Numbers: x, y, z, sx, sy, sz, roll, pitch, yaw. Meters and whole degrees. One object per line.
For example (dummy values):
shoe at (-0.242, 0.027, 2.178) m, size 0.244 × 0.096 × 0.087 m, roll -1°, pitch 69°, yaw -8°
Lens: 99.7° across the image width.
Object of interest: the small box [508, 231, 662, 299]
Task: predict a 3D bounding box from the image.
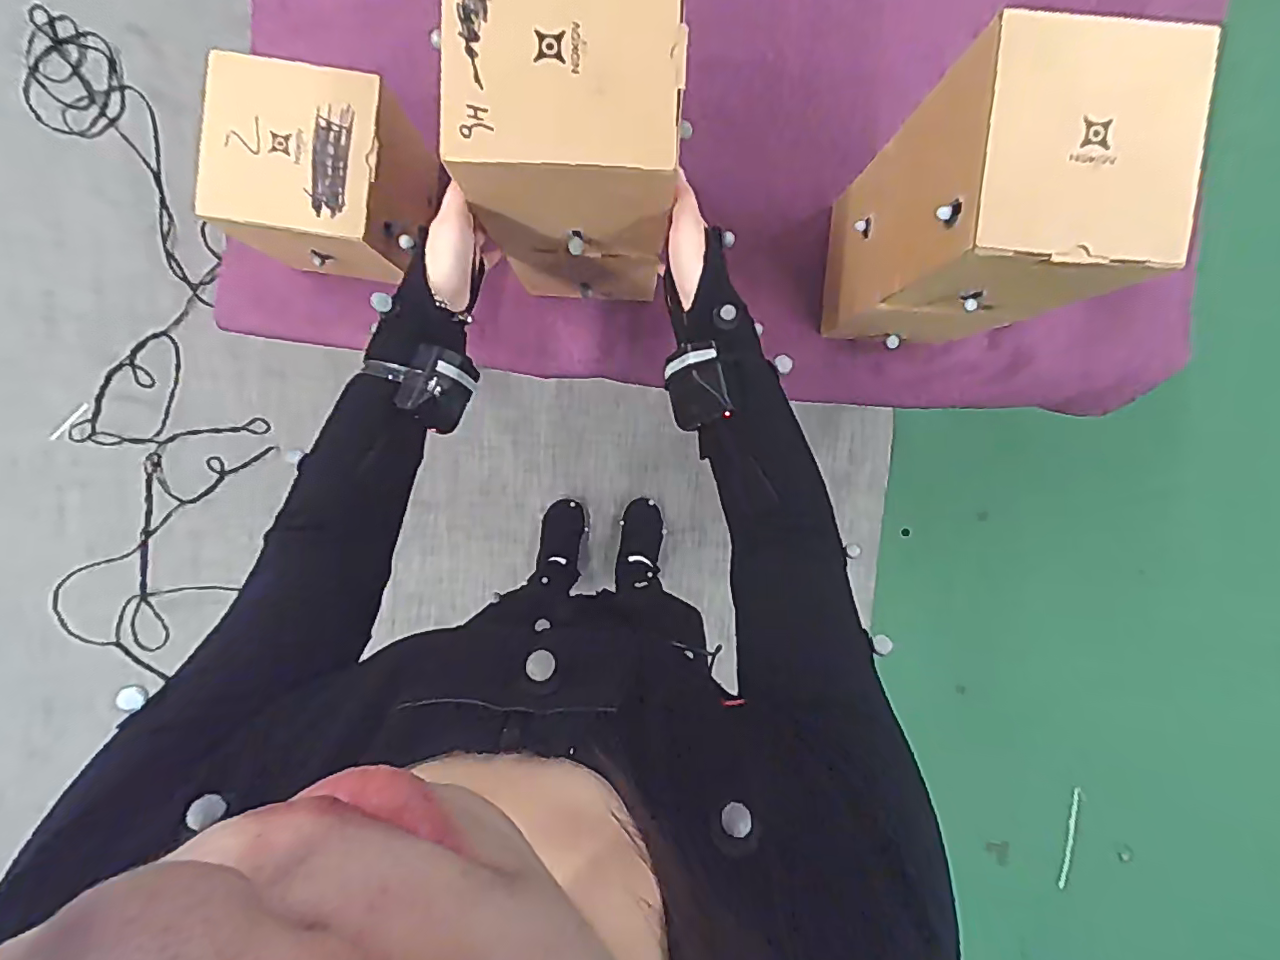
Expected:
small box at (-0.058, -0.328, 0.633) m, size 0.168 × 0.176 × 0.179 m, roll 2°, pitch 94°, yaw -1°

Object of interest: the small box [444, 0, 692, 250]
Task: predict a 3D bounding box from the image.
small box at (-0.055, -0.314, 0.468) m, size 0.179 × 0.176 × 0.168 m, roll 2°, pitch 92°, yaw -2°

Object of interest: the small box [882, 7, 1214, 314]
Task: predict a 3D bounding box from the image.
small box at (0.338, -0.262, 0.485) m, size 0.168 × 0.176 × 0.179 m, roll 4°, pitch 95°, yaw -1°

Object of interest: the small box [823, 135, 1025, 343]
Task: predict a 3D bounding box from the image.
small box at (0.333, -0.271, 0.647) m, size 0.168 × 0.176 × 0.179 m, roll 4°, pitch 95°, yaw -1°
